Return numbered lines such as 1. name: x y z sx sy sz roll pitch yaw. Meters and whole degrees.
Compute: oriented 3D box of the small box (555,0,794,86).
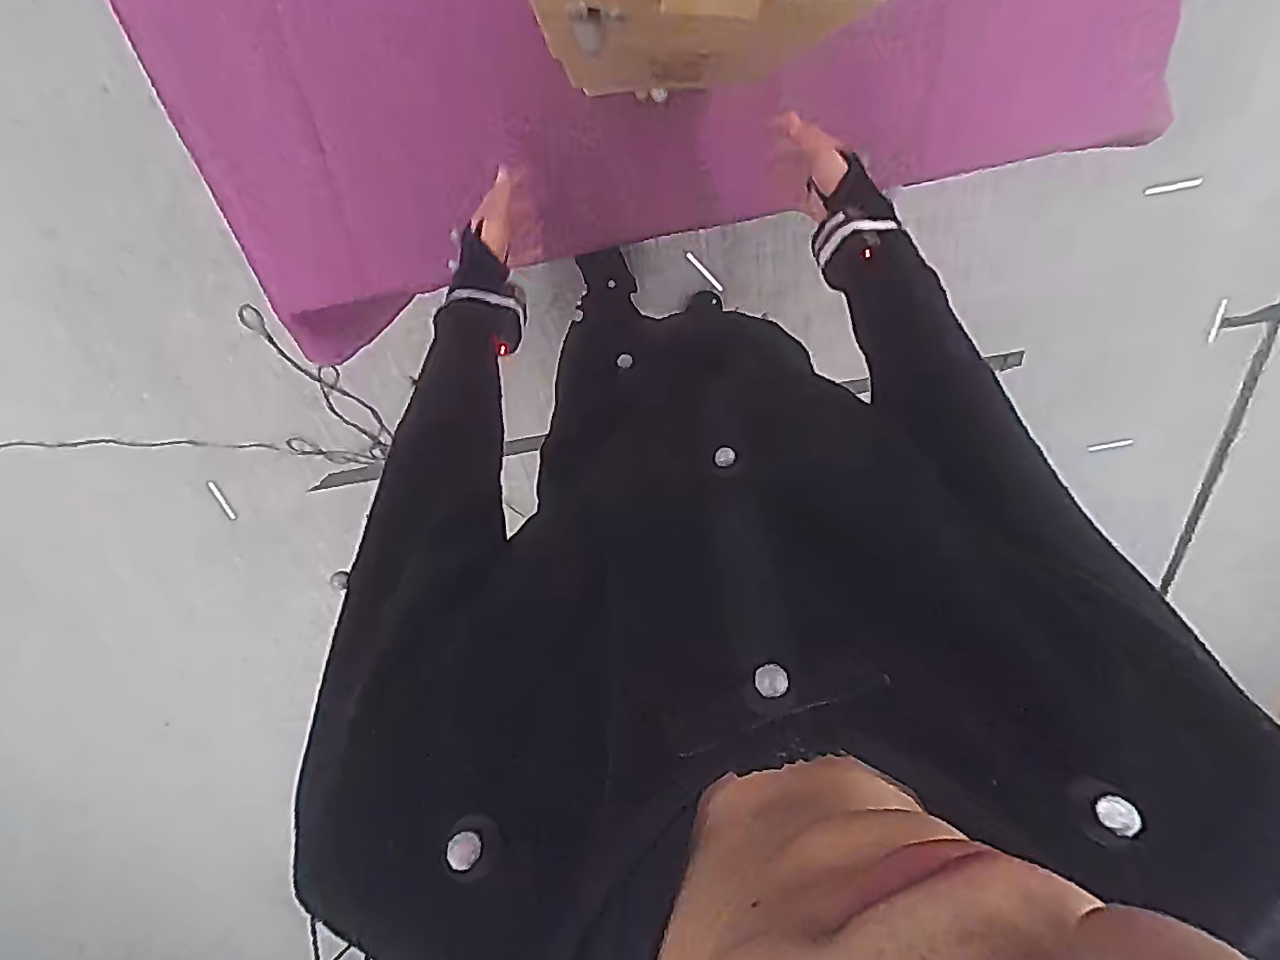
1. small box: 0.019 -0.416 0.404 0.168 0.176 0.179 -2 120 -3
